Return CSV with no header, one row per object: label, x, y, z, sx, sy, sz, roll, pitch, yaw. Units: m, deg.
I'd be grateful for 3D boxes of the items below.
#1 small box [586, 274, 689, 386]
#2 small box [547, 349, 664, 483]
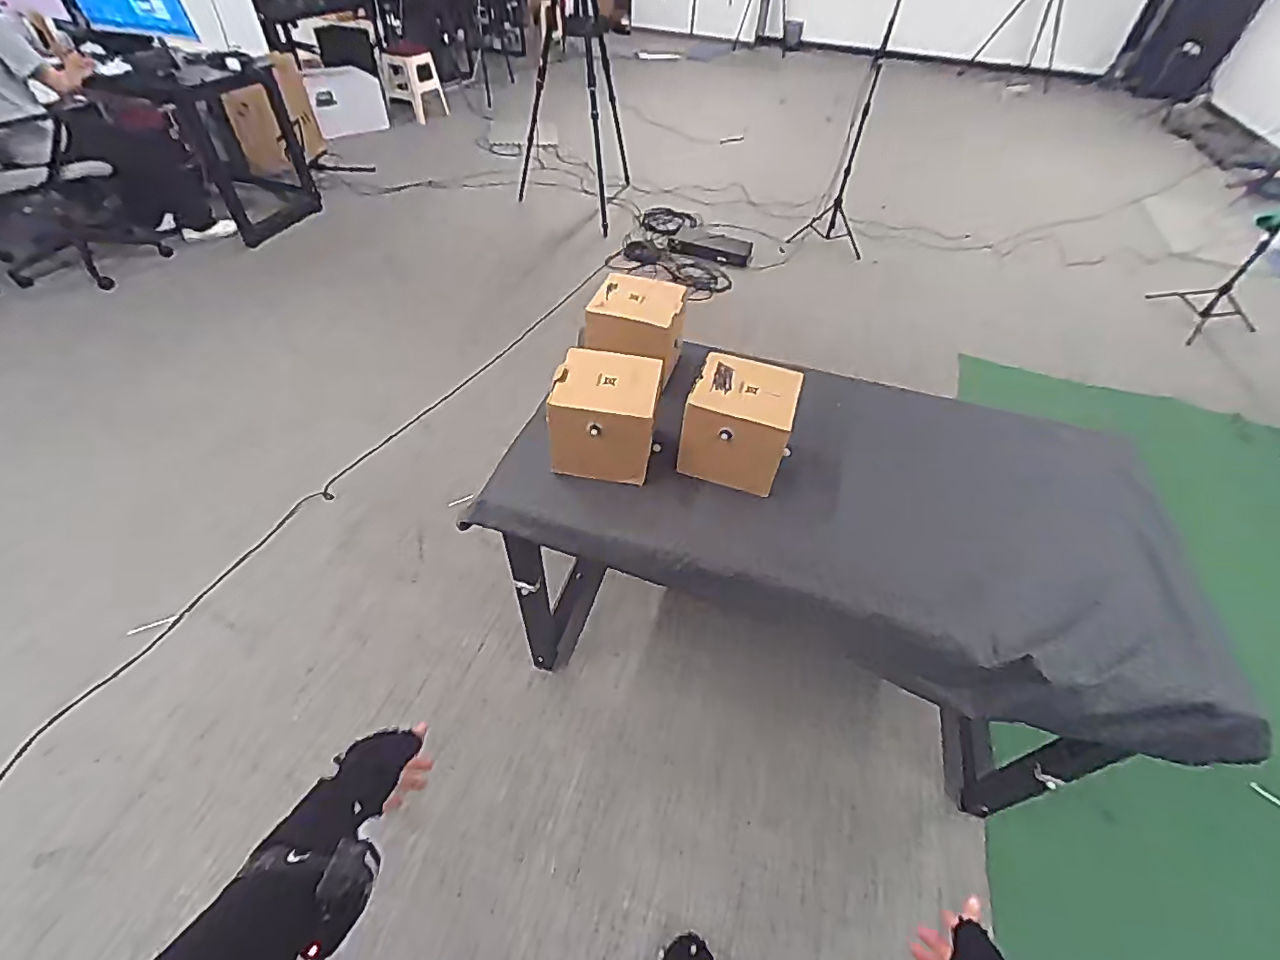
small box,-0.007,-0.315,1.172,0.179,0.176,0.168,16,49,9
small box,-0.060,-0.113,0.987,0.179,0.176,0.168,10,48,3
